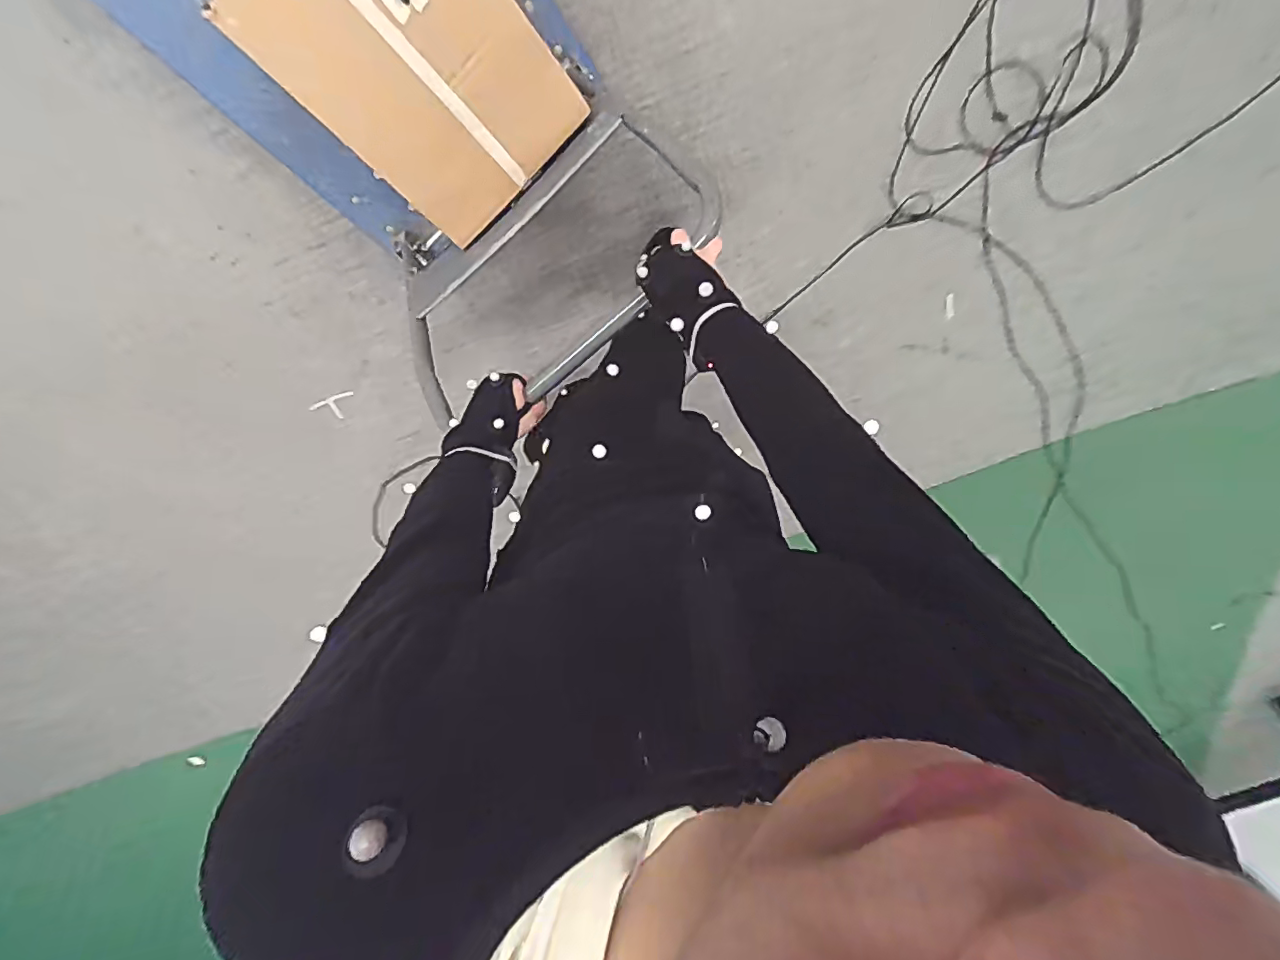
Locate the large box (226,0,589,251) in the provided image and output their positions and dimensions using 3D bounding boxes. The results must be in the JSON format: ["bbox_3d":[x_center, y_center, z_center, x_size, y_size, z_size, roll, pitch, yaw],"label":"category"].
[{"bbox_3d":[-0.352,-0.681,0.901,0.320,0.320,0.408,-39,133,14],"label":"large box"}]
